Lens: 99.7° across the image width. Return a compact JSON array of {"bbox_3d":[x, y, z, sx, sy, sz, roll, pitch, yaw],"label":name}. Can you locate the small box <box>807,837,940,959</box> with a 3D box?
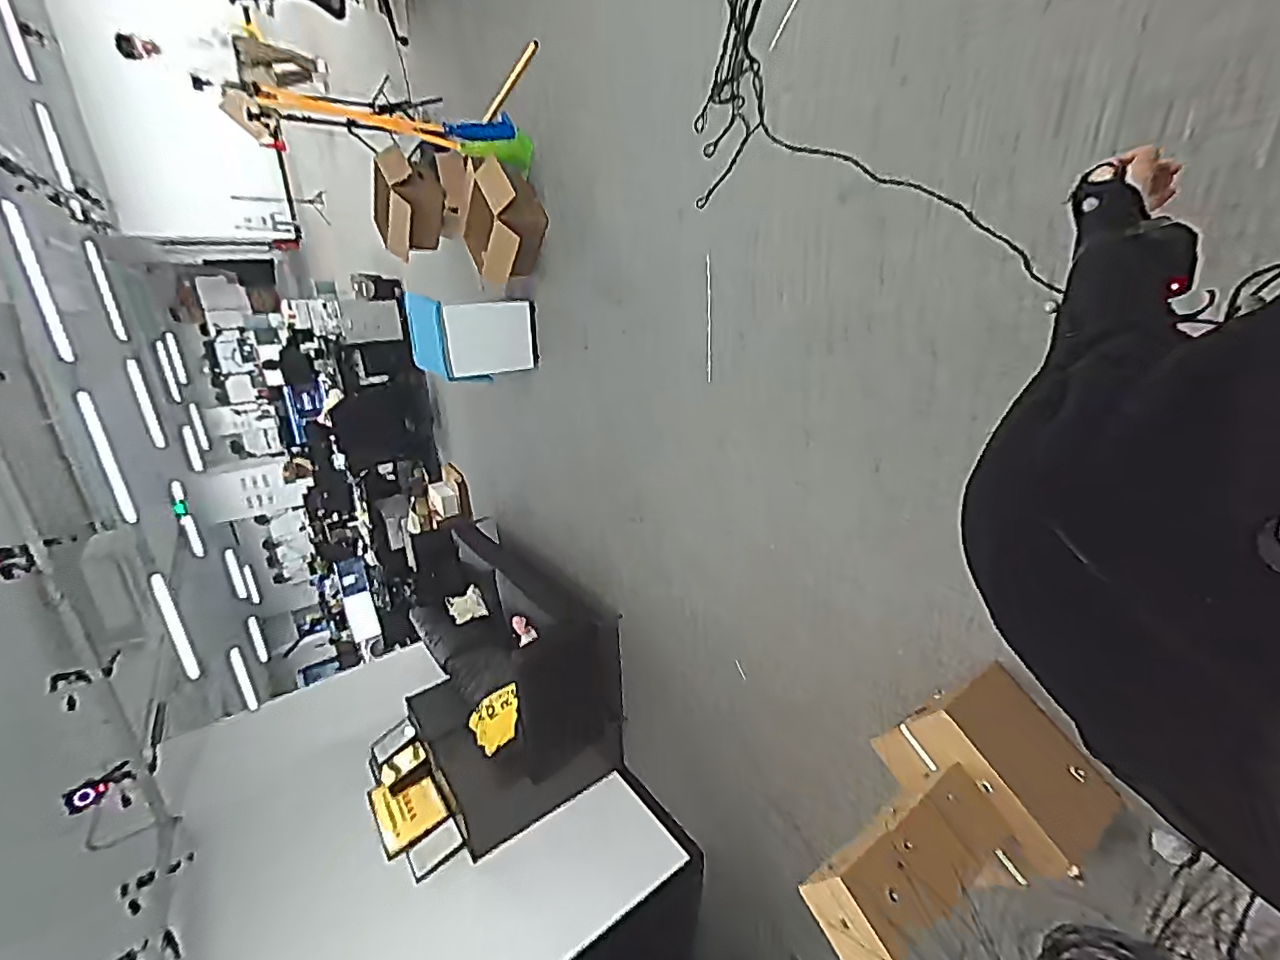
[{"bbox_3d":[0.504,0.904,1.160,0.168,0.176,0.179,56,143,29],"label":"small box"}]

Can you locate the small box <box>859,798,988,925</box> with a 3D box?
[{"bbox_3d":[0.645,0.875,1.241,0.179,0.176,0.168,55,143,29],"label":"small box"}]
